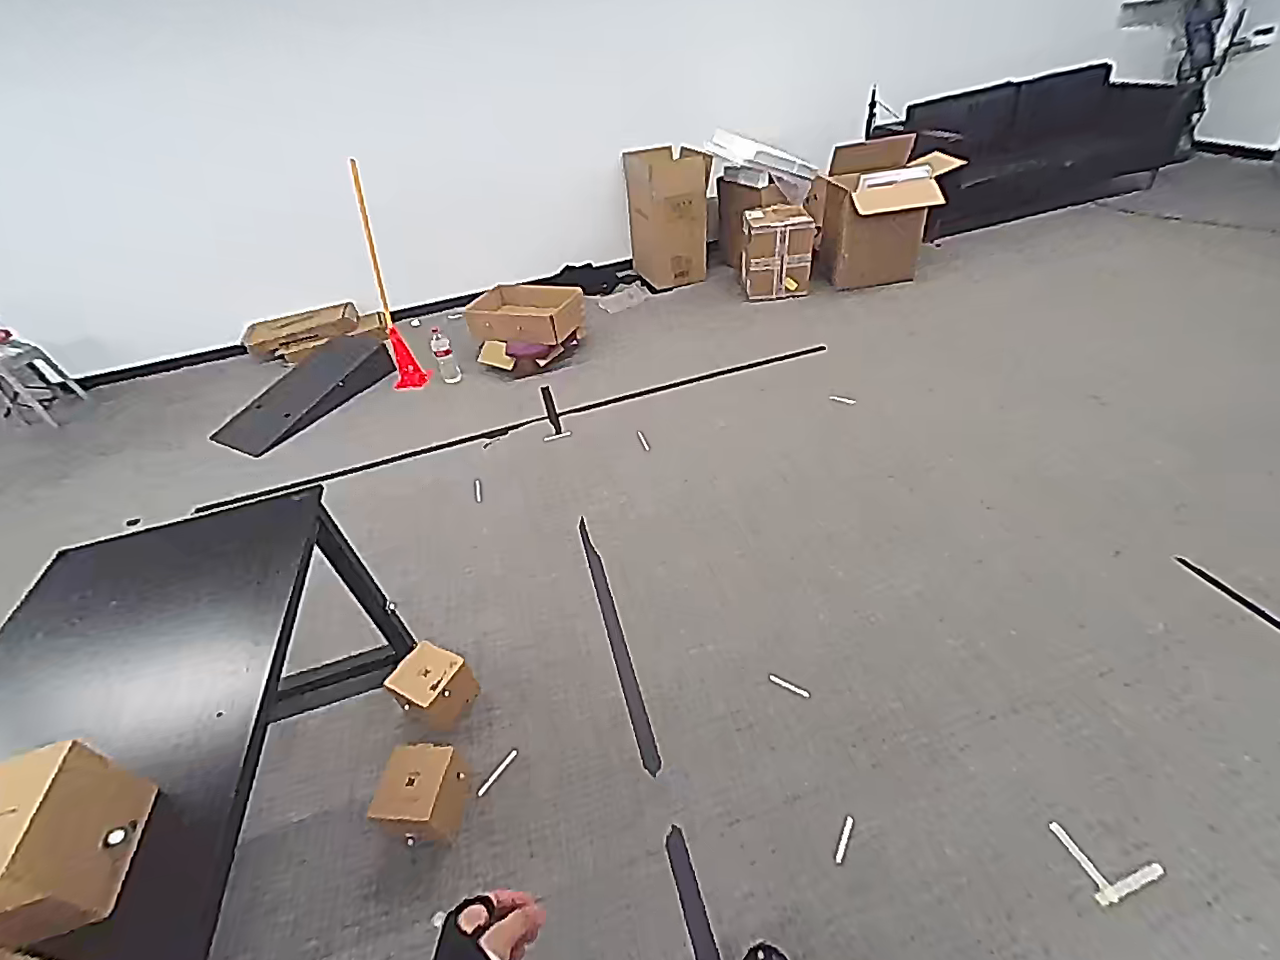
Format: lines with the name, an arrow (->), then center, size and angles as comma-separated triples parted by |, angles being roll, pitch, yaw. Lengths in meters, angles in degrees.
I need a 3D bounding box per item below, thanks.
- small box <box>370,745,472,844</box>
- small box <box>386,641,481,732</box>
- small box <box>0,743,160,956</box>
small box -> -0.552, 0.812, 1.398 | 0.168, 0.176, 0.179 | -3, 41, 8
small box -> -0.615, 0.624, 1.628 | 0.179, 0.176, 0.168 | 14, 45, 25
small box -> -0.792, 0.480, 0.695 | 0.179, 0.176, 0.168 | -15, 40, -9
